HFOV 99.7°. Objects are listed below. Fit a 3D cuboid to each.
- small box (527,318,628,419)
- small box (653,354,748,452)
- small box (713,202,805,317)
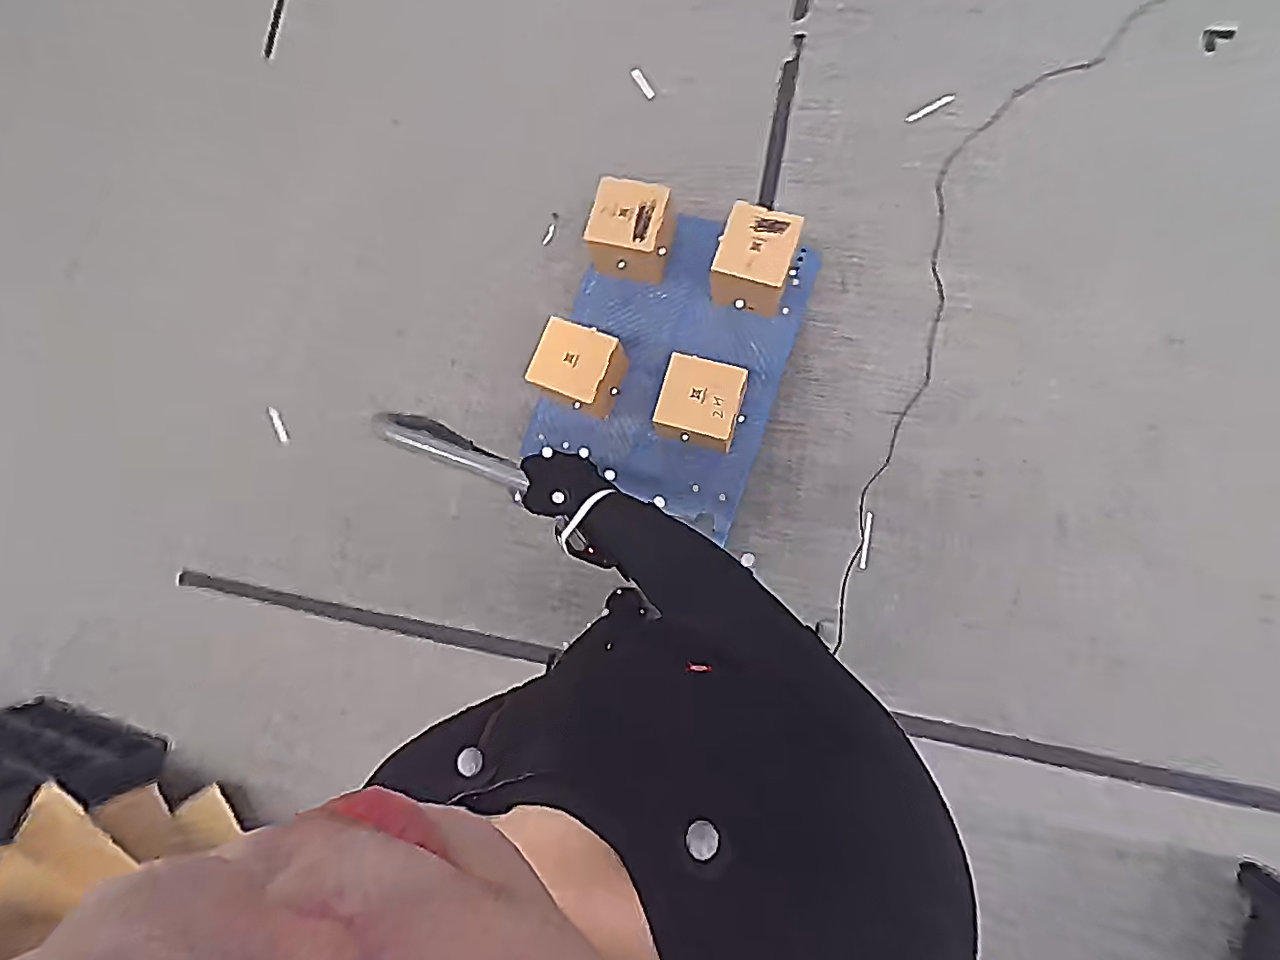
[{"bbox_3d":[-0.146,-0.265,1.327,0.179,0.176,0.168,21,85,9],"label":"small box"},{"bbox_3d":[0.146,-0.174,1.271,0.179,0.176,0.168,16,85,10],"label":"small box"},{"bbox_3d":[0.277,-0.522,1.298,0.168,0.176,0.179,19,87,10],"label":"small box"}]
